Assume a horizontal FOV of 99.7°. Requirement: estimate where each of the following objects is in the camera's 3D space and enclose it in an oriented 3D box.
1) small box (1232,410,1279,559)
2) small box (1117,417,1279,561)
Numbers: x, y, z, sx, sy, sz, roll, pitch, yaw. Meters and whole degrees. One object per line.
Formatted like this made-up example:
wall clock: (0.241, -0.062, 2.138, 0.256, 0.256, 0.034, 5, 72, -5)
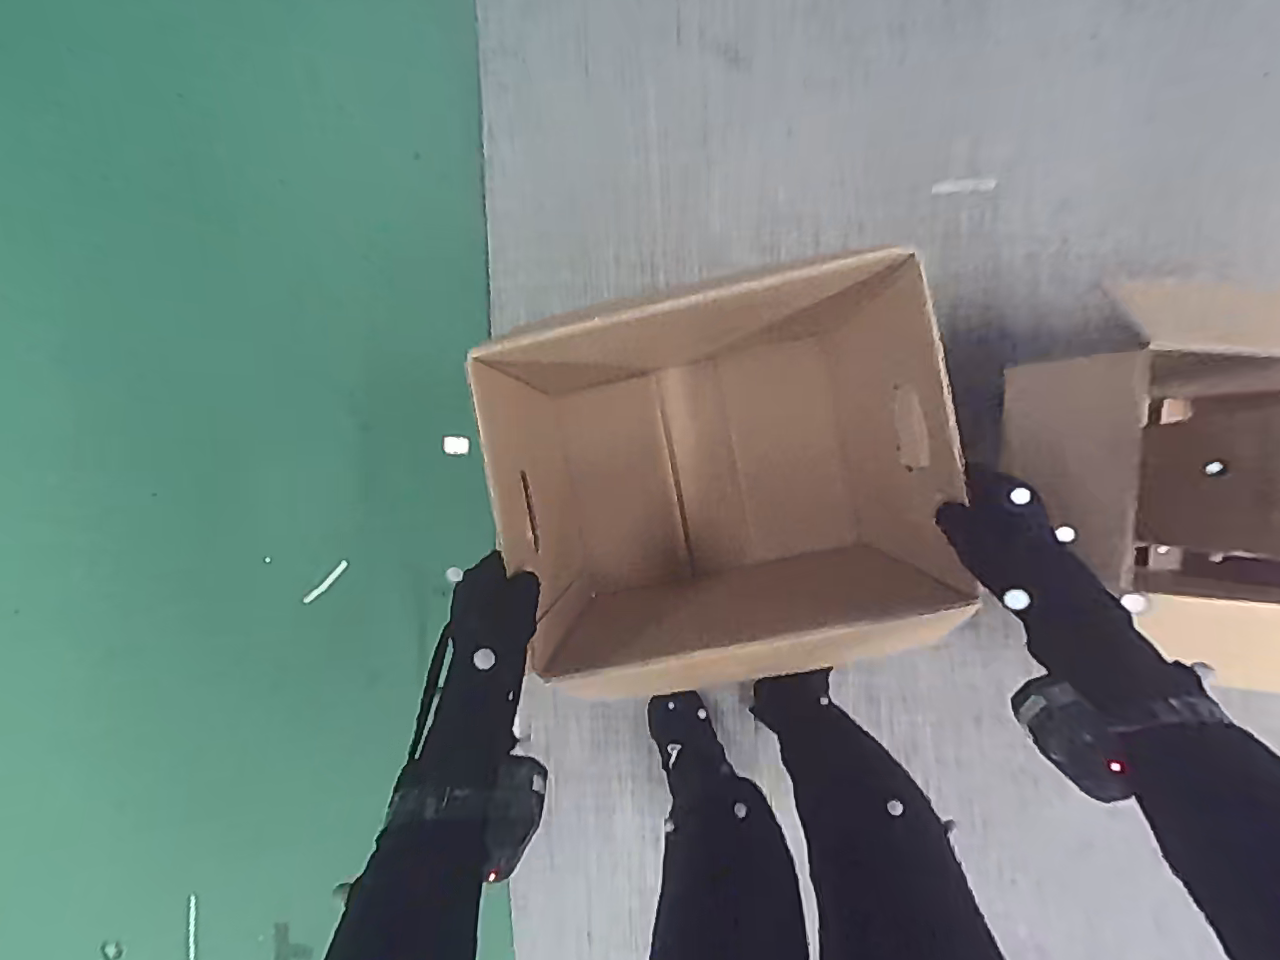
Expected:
small box: (0.761, 0.008, 0.536, 0.179, 0.176, 0.168, 4, 91, 6)
small box: (0.778, 0.016, 0.697, 0.179, 0.176, 0.168, 4, 89, 6)
